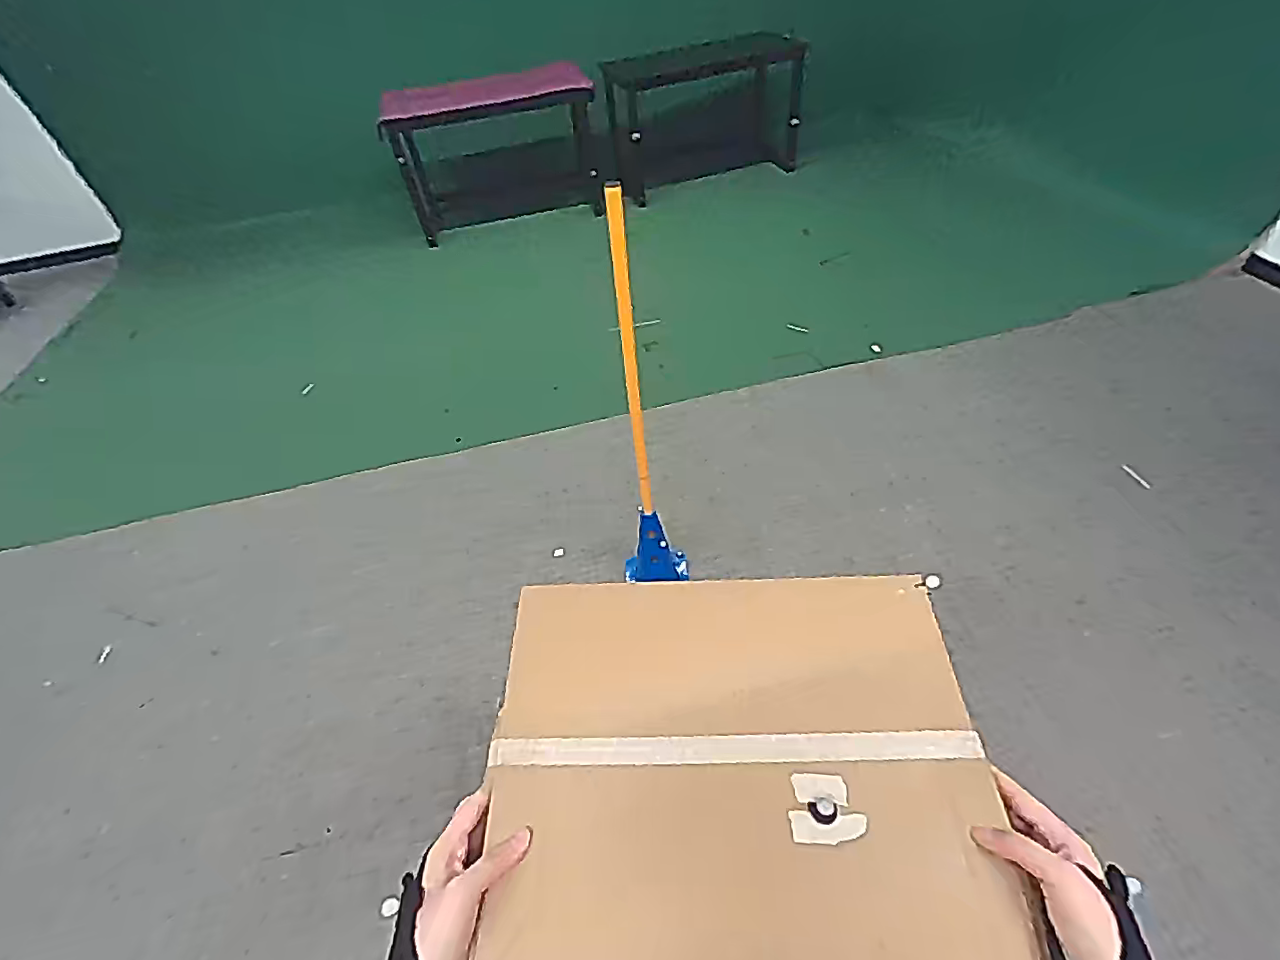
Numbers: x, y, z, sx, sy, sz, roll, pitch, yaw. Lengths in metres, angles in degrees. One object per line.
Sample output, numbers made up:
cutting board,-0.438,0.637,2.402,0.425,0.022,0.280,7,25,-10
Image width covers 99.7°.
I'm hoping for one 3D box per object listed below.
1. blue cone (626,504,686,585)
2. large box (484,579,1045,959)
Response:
blue cone,0.037,0.215,1.625,0.193,0.380,0.192,-6,46,2
large box,0.089,0.319,0.585,0.408,0.320,0.320,-1,53,3
